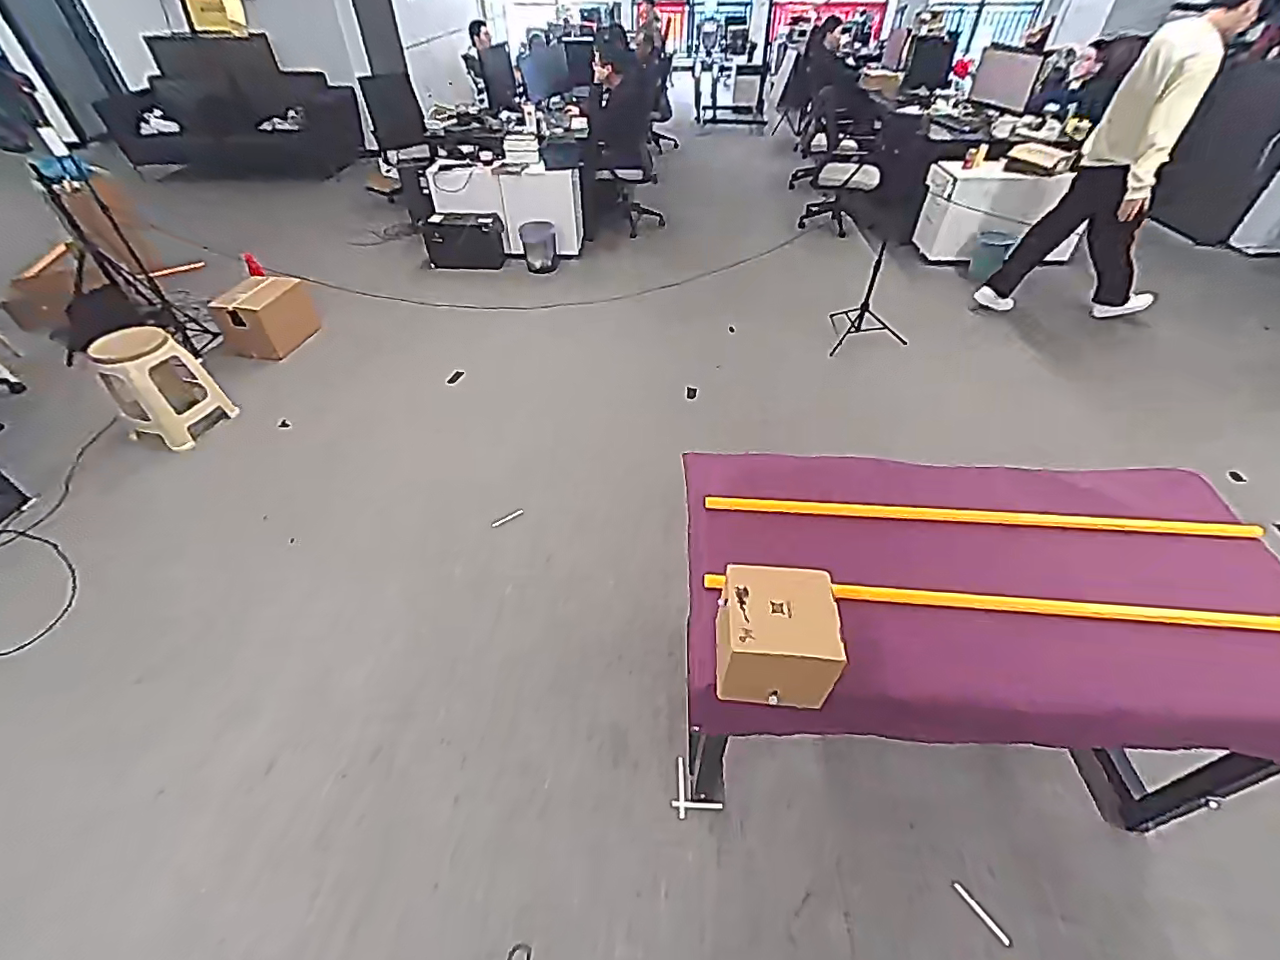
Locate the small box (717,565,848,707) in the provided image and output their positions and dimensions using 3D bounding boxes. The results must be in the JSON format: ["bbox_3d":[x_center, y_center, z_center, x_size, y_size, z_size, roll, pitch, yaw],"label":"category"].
[{"bbox_3d":[0.229,0.267,0.918,0.179,0.176,0.168,5,44,3],"label":"small box"}]
